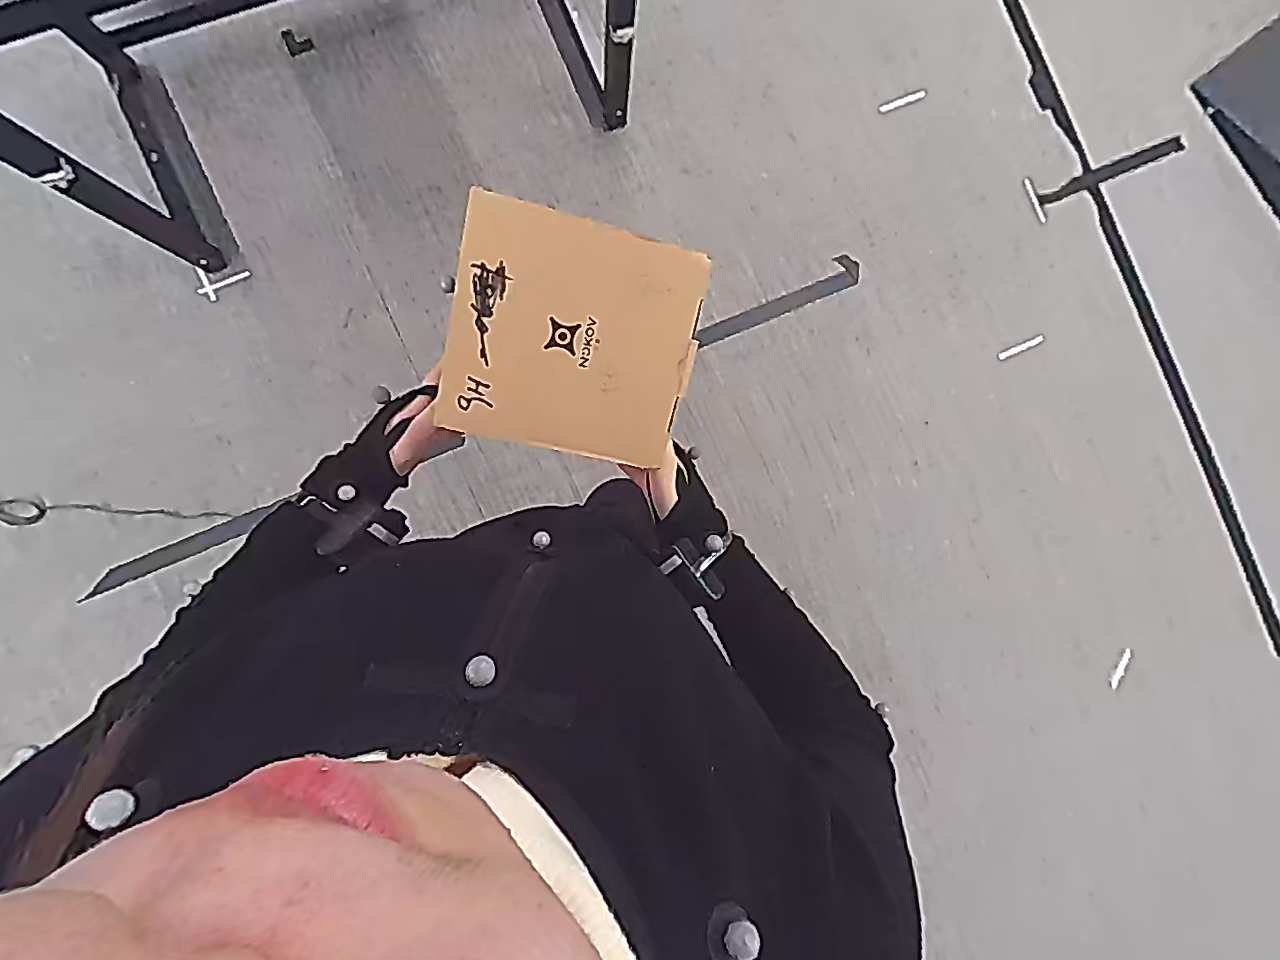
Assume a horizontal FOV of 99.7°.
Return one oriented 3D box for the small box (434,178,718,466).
[{"bbox_3d":[-0.059,-0.121,0.460,0.179,0.176,0.168,11,100,-14],"label":"small box"}]
